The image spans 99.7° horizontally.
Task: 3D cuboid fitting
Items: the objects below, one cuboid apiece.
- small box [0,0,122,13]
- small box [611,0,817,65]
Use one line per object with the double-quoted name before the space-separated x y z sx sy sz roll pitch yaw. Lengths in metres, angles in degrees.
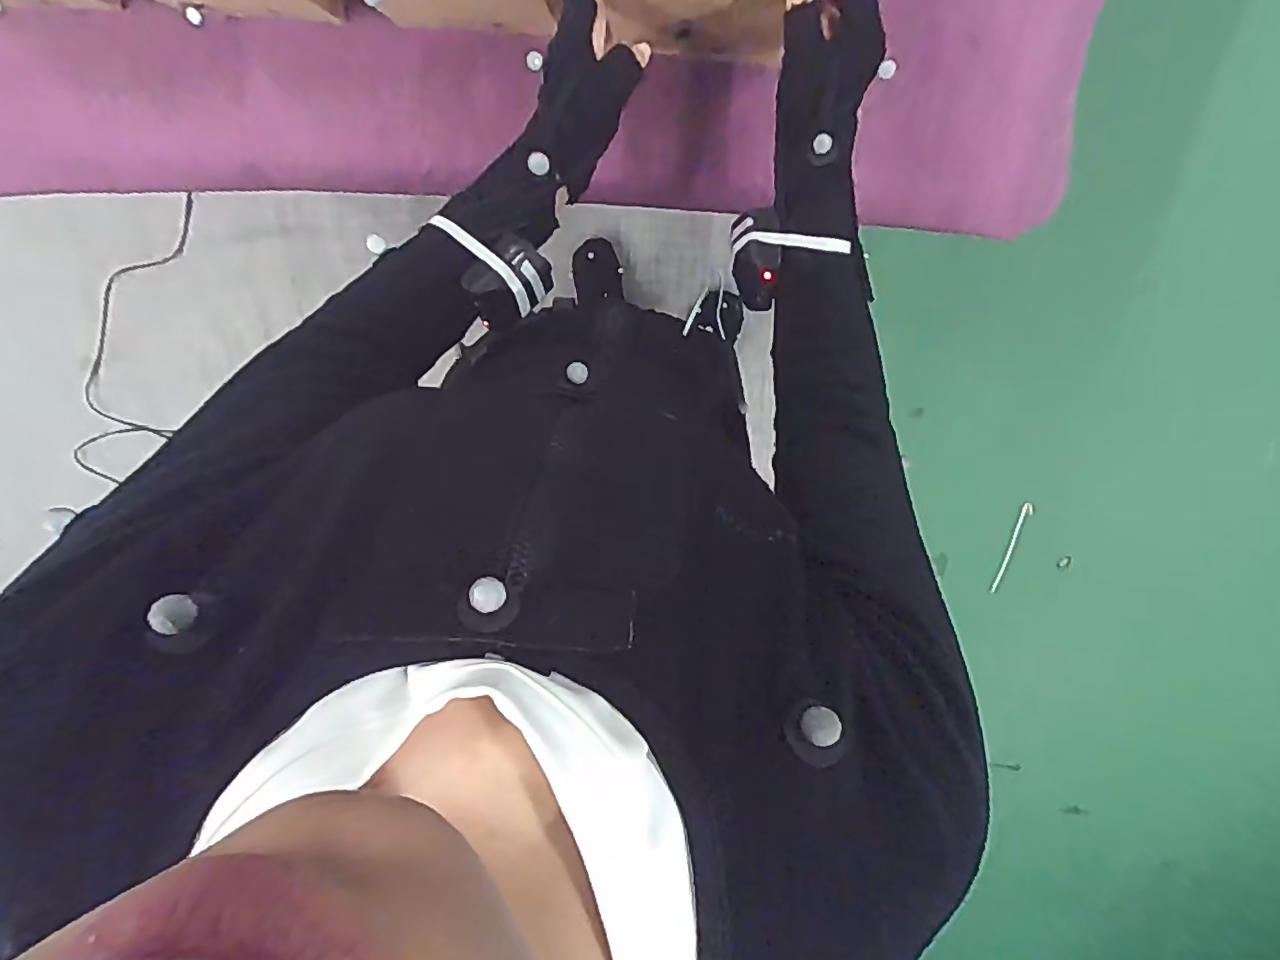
"small box" -0.587 -0.516 0.429 0.168 0.176 0.179 3 115 0
"small box" 0.061 -0.473 0.436 0.168 0.176 0.179 5 115 -1
